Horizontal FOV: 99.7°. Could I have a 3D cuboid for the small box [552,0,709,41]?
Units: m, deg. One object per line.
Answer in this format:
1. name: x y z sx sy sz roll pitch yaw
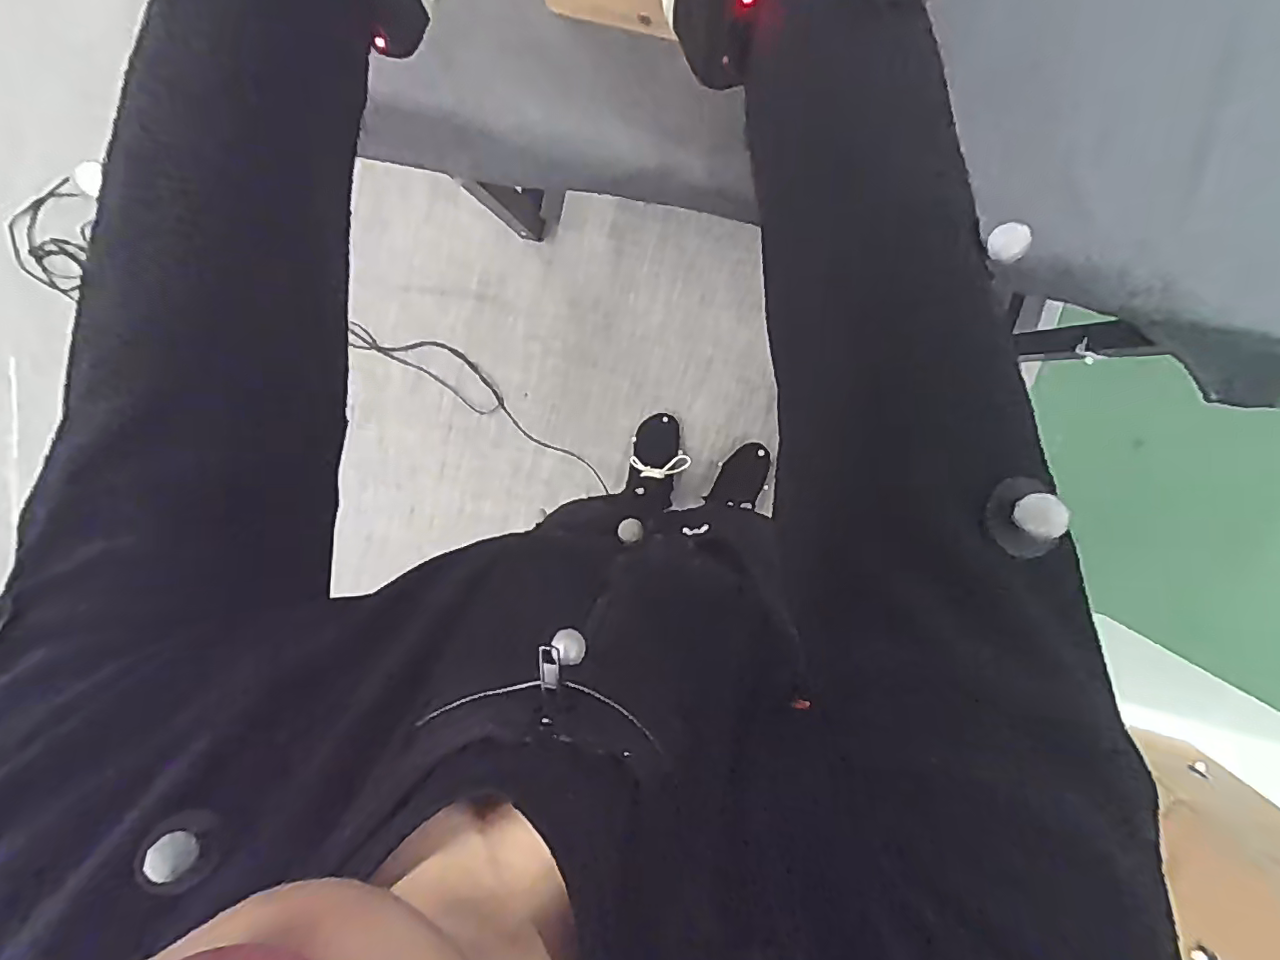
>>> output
1. small box: -0.003 -0.524 0.447 0.168 0.176 0.179 14 101 0
